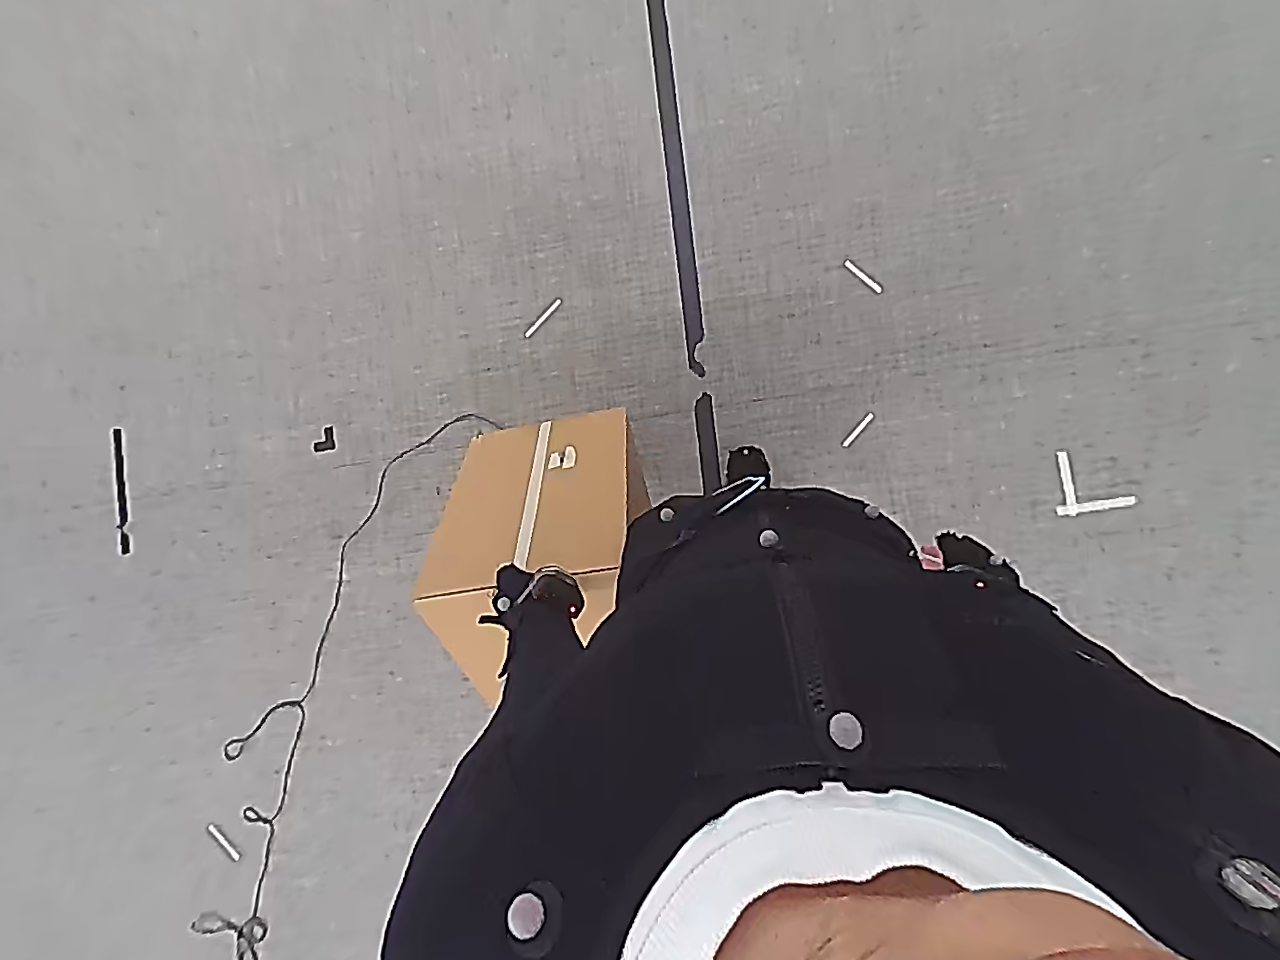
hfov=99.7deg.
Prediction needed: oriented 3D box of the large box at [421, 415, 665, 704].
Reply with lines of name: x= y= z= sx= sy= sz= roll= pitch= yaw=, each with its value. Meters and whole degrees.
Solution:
large box: x=-0.143 y=0.137 z=1.004 sx=0.320 sy=0.408 sz=0.320 roll=-10 pitch=128 yaw=7
